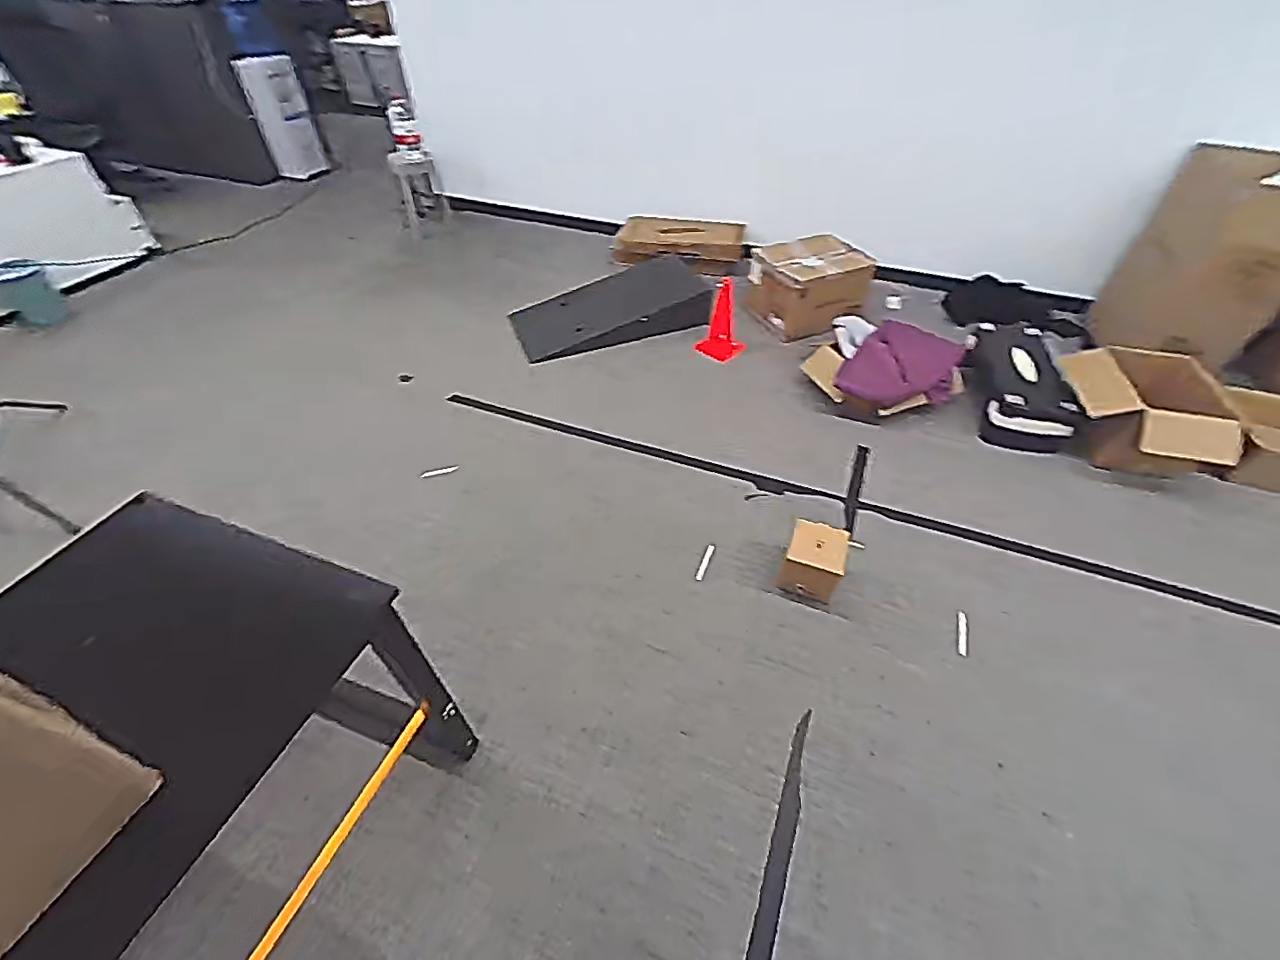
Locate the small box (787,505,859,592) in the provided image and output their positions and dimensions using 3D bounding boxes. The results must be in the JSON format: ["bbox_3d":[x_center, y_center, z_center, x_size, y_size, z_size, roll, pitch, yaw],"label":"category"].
[{"bbox_3d":[0.554,0.210,1.650,0.168,0.176,0.179,15,49,14],"label":"small box"}]
